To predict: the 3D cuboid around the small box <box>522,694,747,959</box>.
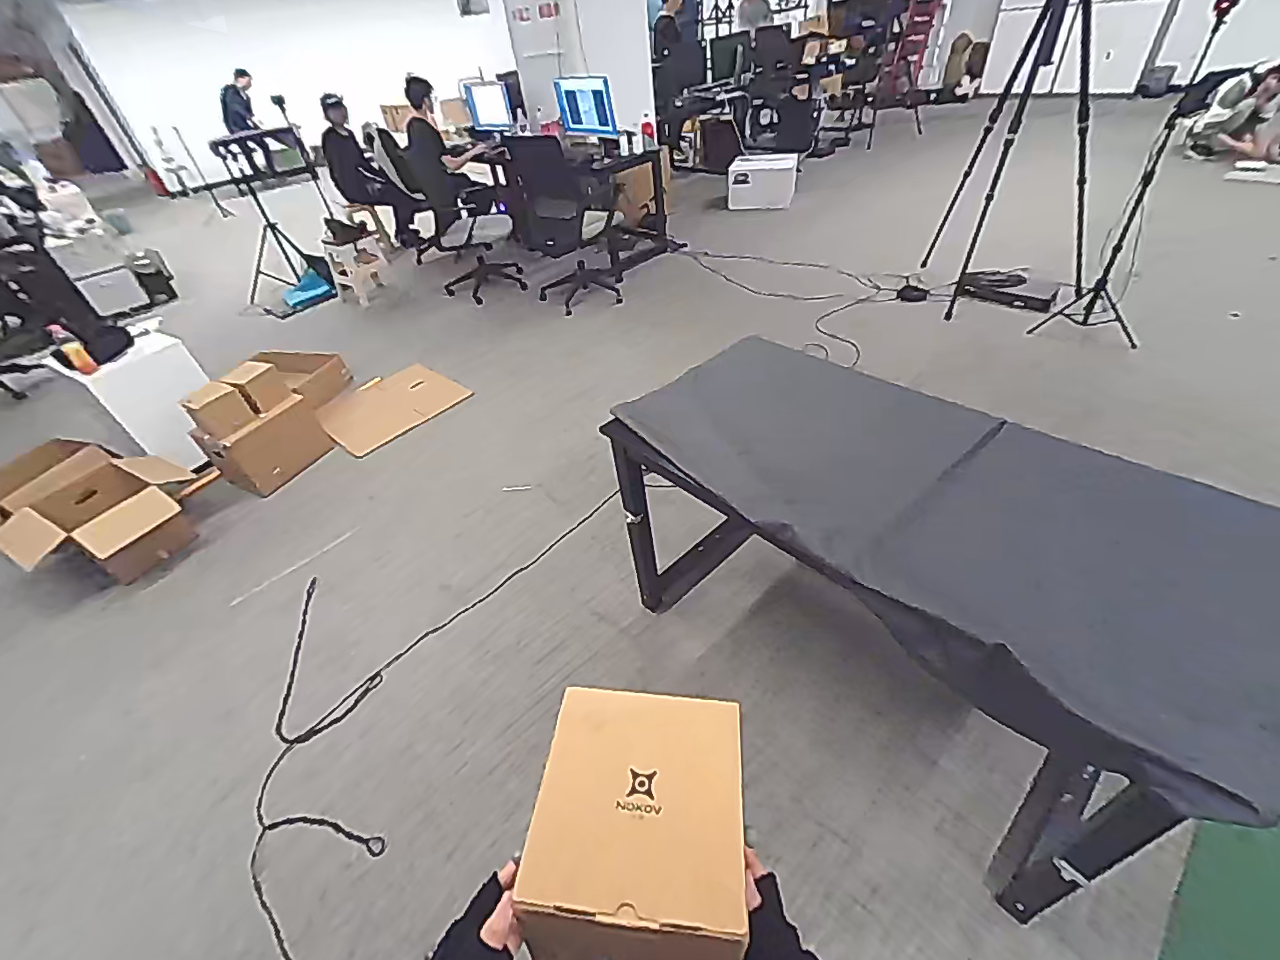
[{"bbox_3d":[0.004,0.329,0.495,0.168,0.176,0.179,3,36,6],"label":"small box"}]
